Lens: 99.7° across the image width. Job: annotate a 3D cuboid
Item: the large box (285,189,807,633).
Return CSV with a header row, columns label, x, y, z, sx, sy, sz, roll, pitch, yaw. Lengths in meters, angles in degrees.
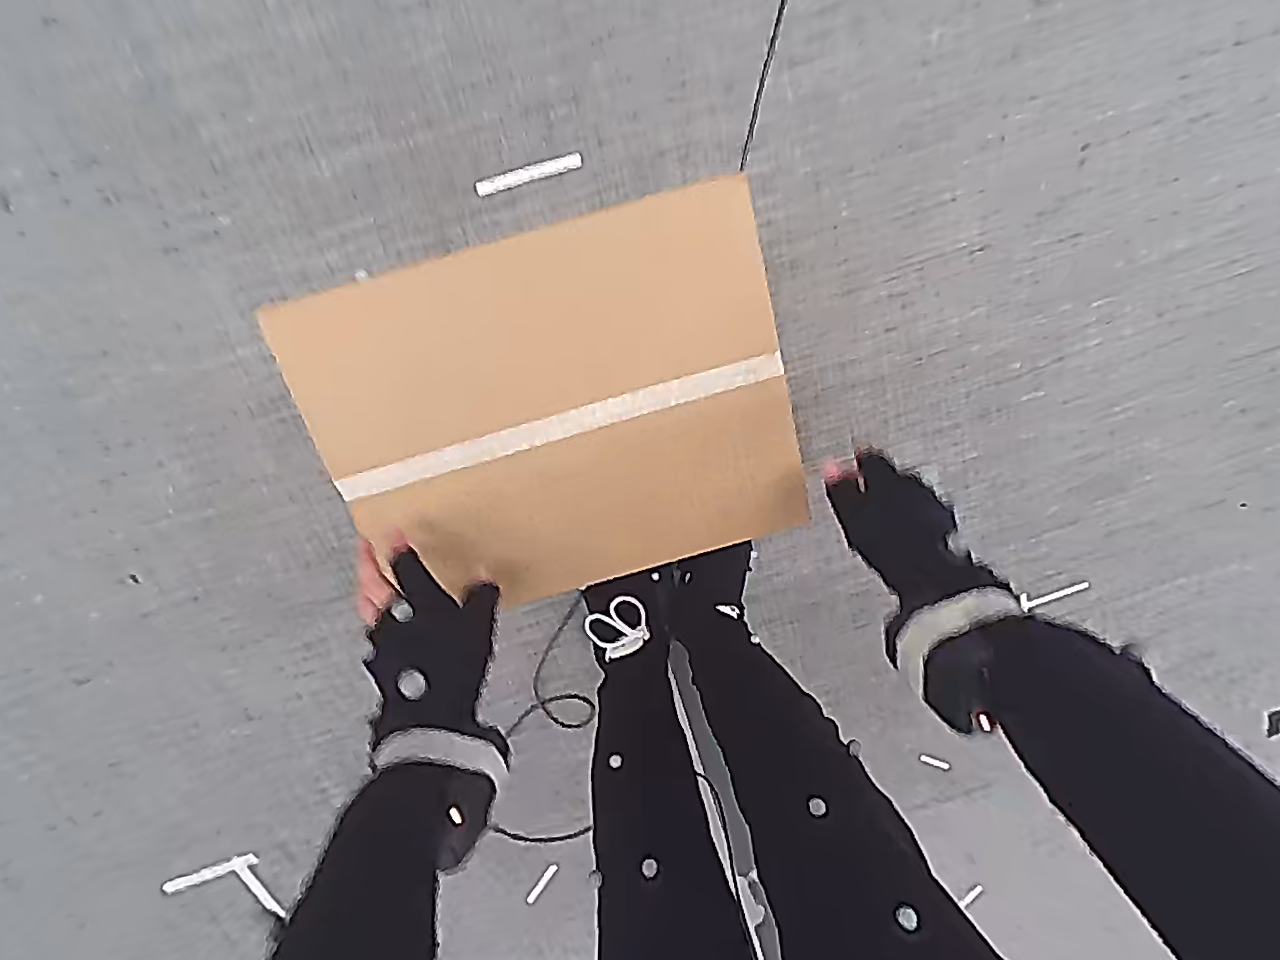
label,x,y,z,sx,sy,sz,roll,pitch,yaw
large box,-0.078,-0.084,0.627,0.408,0.320,0.320,-16,108,0
